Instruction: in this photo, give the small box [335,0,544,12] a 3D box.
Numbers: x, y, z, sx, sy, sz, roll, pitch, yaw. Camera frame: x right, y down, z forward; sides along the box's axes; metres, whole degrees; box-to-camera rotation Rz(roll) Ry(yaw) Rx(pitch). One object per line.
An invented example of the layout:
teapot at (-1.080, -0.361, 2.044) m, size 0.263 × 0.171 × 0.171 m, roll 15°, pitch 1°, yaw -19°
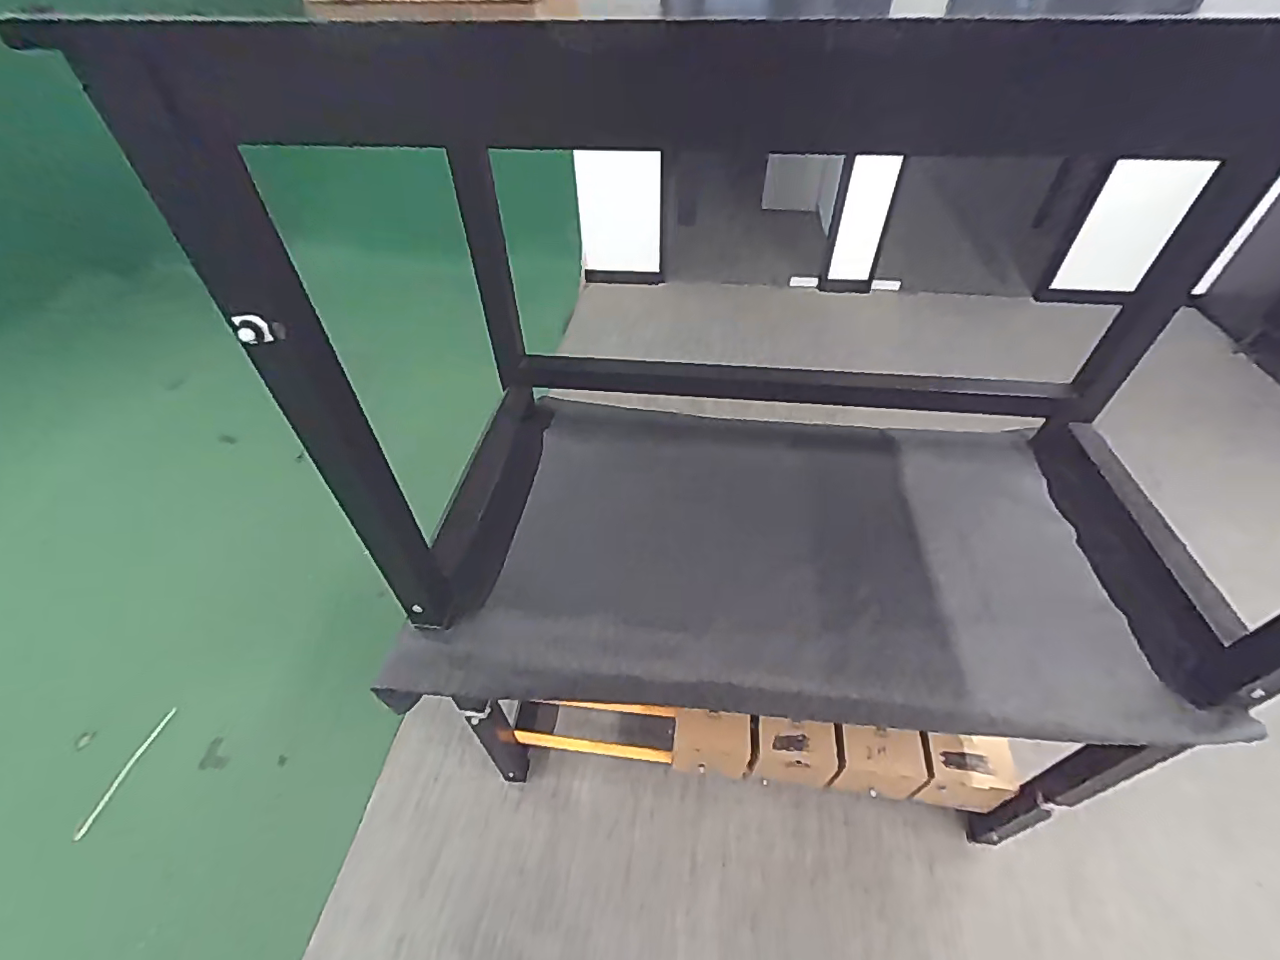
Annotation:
small box at (-0.143, -0.449, 0.380) m, size 0.168 × 0.176 × 0.179 m, roll 1°, pitch 45°, yaw 3°
